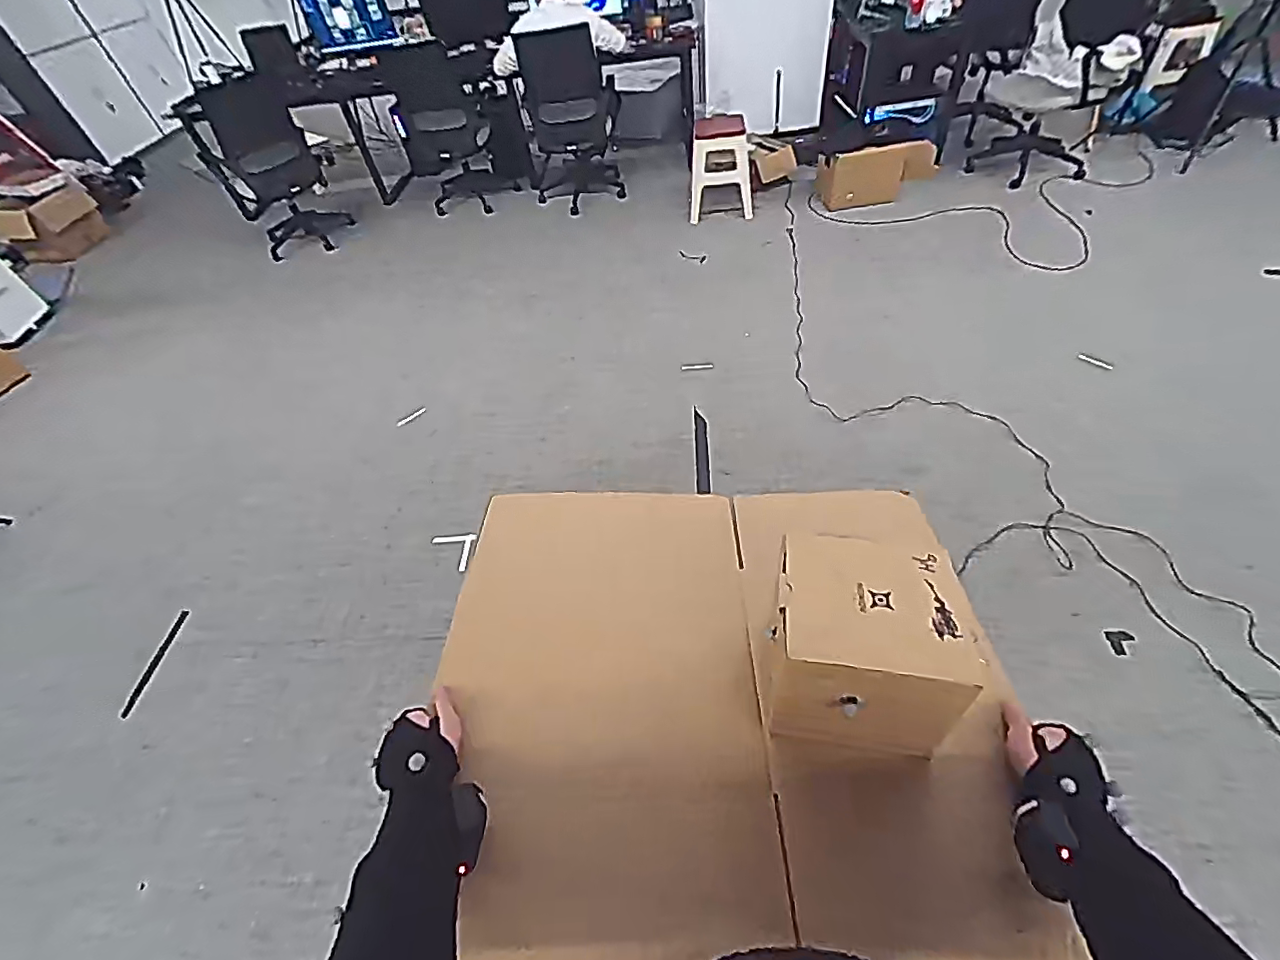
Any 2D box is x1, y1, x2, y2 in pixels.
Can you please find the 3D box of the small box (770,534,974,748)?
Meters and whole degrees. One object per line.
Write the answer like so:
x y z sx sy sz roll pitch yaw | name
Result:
0.243 0.182 0.617 0.179 0.176 0.168 4 44 11 | small box
